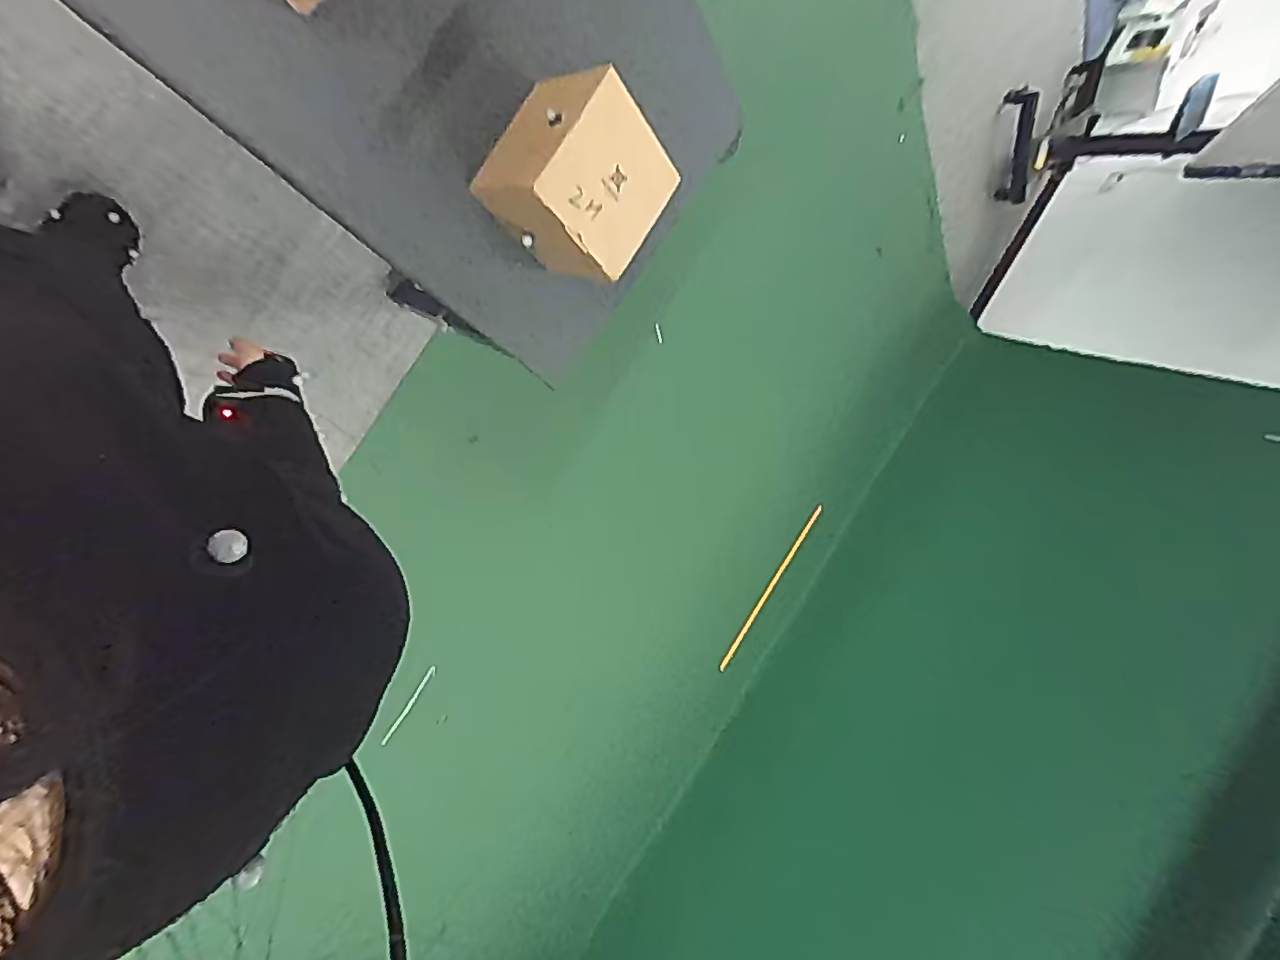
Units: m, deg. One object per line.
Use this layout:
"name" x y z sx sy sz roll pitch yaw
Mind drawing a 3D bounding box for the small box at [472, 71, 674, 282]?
"small box" -0.094 -0.399 0.729 0.168 0.176 0.179 36 85 -48
